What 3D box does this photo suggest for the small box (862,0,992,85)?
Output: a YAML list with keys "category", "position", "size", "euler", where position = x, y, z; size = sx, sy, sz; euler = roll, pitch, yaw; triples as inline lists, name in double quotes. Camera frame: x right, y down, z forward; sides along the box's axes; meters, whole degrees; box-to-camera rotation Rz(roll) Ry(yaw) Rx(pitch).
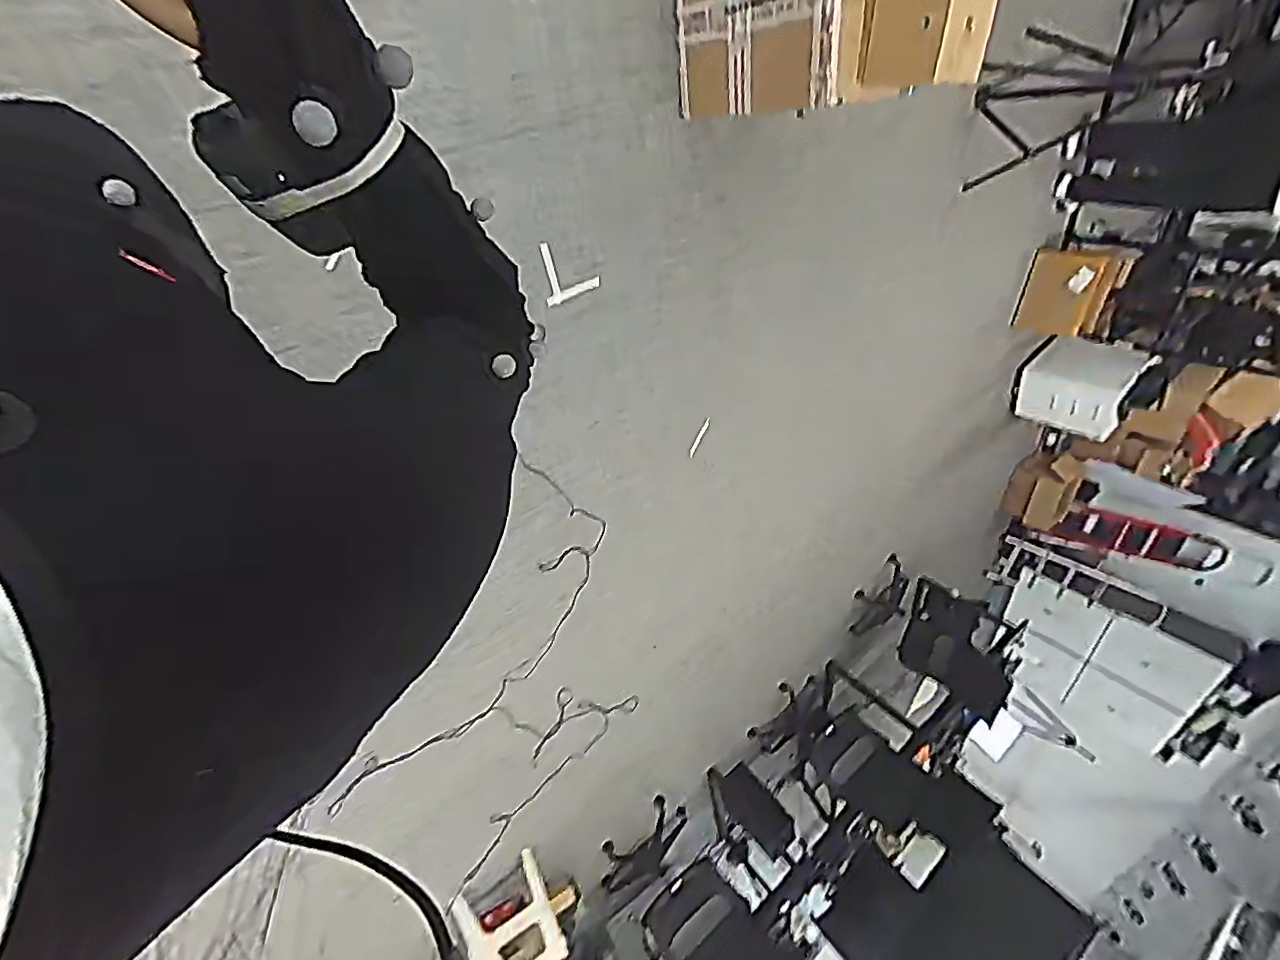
- category: "small box"
  position: [0.586, -0.928, 1.114]
  size: [0.168, 0.176, 0.179]
  euler: [-23, 130, -27]
